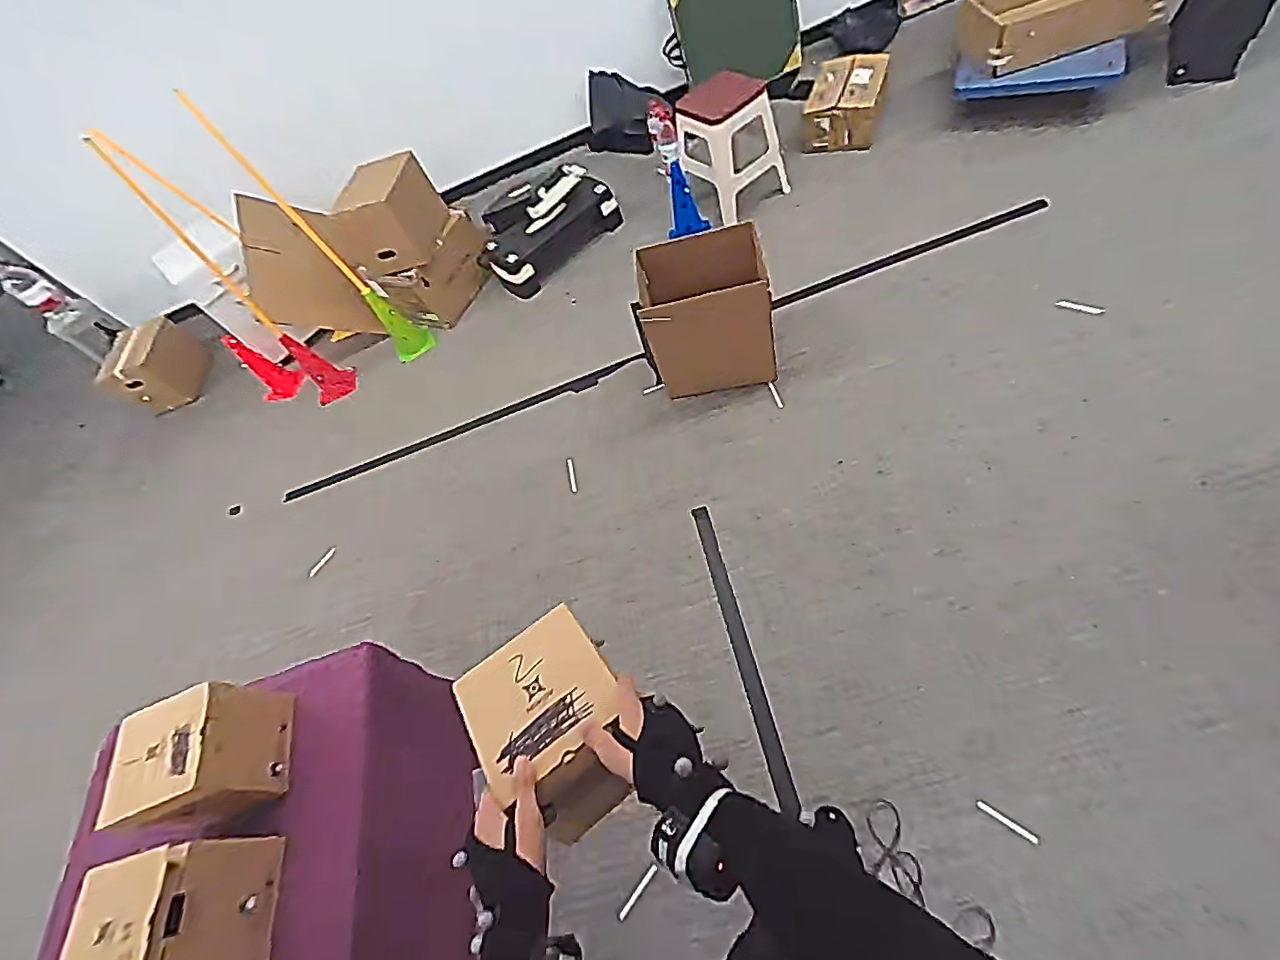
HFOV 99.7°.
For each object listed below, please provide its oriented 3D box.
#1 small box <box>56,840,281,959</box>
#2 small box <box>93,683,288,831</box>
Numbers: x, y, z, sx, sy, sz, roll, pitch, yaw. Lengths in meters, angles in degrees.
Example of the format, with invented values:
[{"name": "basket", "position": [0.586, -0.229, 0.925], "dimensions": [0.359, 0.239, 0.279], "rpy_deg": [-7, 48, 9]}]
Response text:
[{"name": "small box", "position": [-0.665, 0.629, 0.772], "dimensions": [0.179, 0.176, 0.168], "rpy_deg": [-18, 56, 7]}, {"name": "small box", "position": [-0.724, 0.458, 0.896], "dimensions": [0.179, 0.176, 0.168], "rpy_deg": [-24, 55, 5]}]
